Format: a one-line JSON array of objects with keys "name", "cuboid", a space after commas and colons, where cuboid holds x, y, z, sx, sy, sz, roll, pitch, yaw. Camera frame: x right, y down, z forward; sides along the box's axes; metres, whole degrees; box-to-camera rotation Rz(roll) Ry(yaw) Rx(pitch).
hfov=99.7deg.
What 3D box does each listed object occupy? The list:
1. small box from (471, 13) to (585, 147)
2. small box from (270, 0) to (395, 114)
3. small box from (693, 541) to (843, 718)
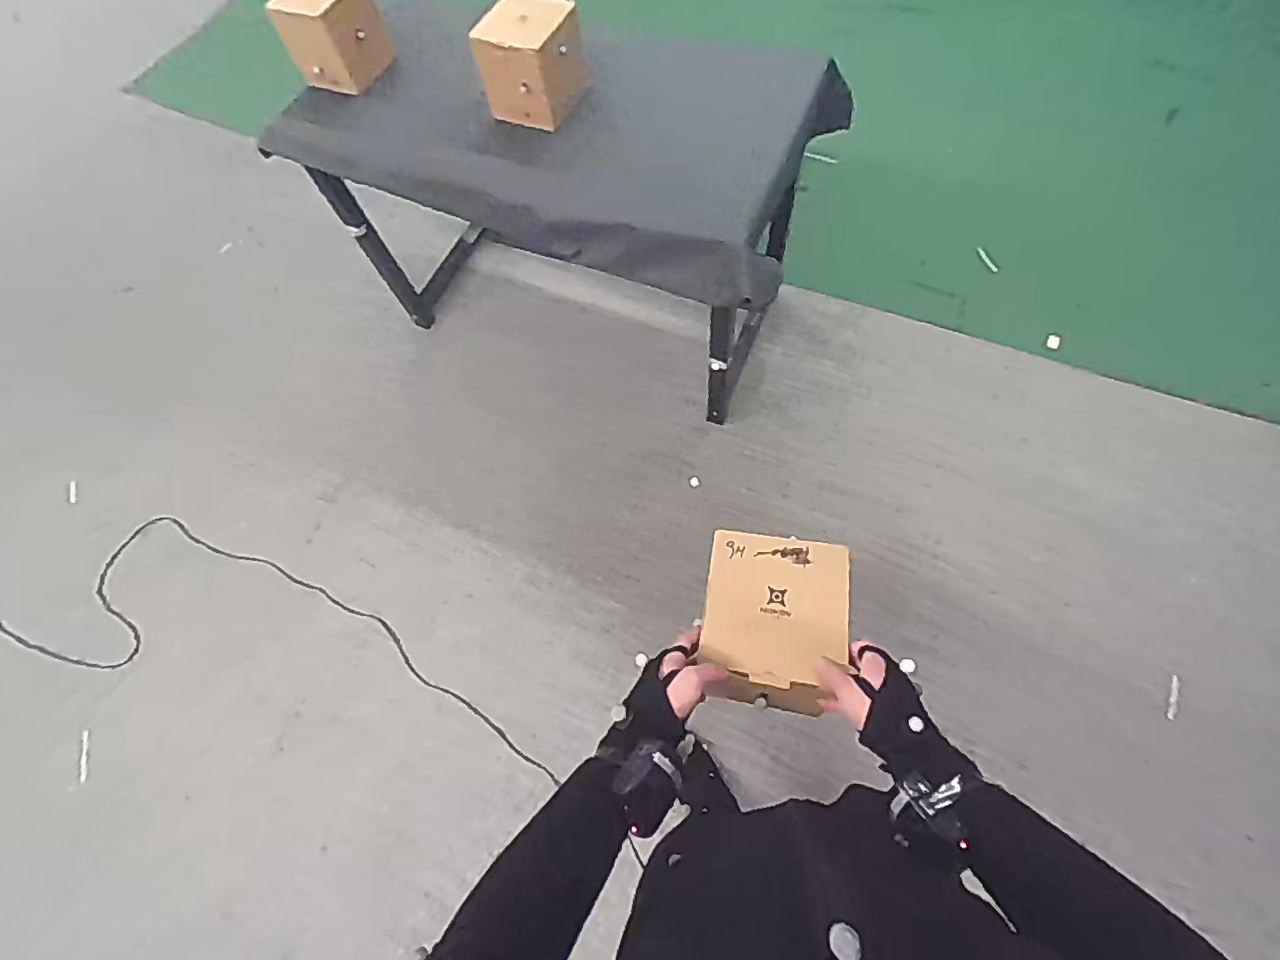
[{"name": "small box", "cuboid": [-0.237, -0.881, 1.200, 0.168, 0.176, 0.179, 22, 69, 13]}, {"name": "small box", "cuboid": [-0.732, -1.039, 1.314, 0.168, 0.176, 0.179, 20, 69, 14]}, {"name": "small box", "cuboid": [0.165, 0.201, 0.708, 0.168, 0.176, 0.179, 6, 60, 11]}]
